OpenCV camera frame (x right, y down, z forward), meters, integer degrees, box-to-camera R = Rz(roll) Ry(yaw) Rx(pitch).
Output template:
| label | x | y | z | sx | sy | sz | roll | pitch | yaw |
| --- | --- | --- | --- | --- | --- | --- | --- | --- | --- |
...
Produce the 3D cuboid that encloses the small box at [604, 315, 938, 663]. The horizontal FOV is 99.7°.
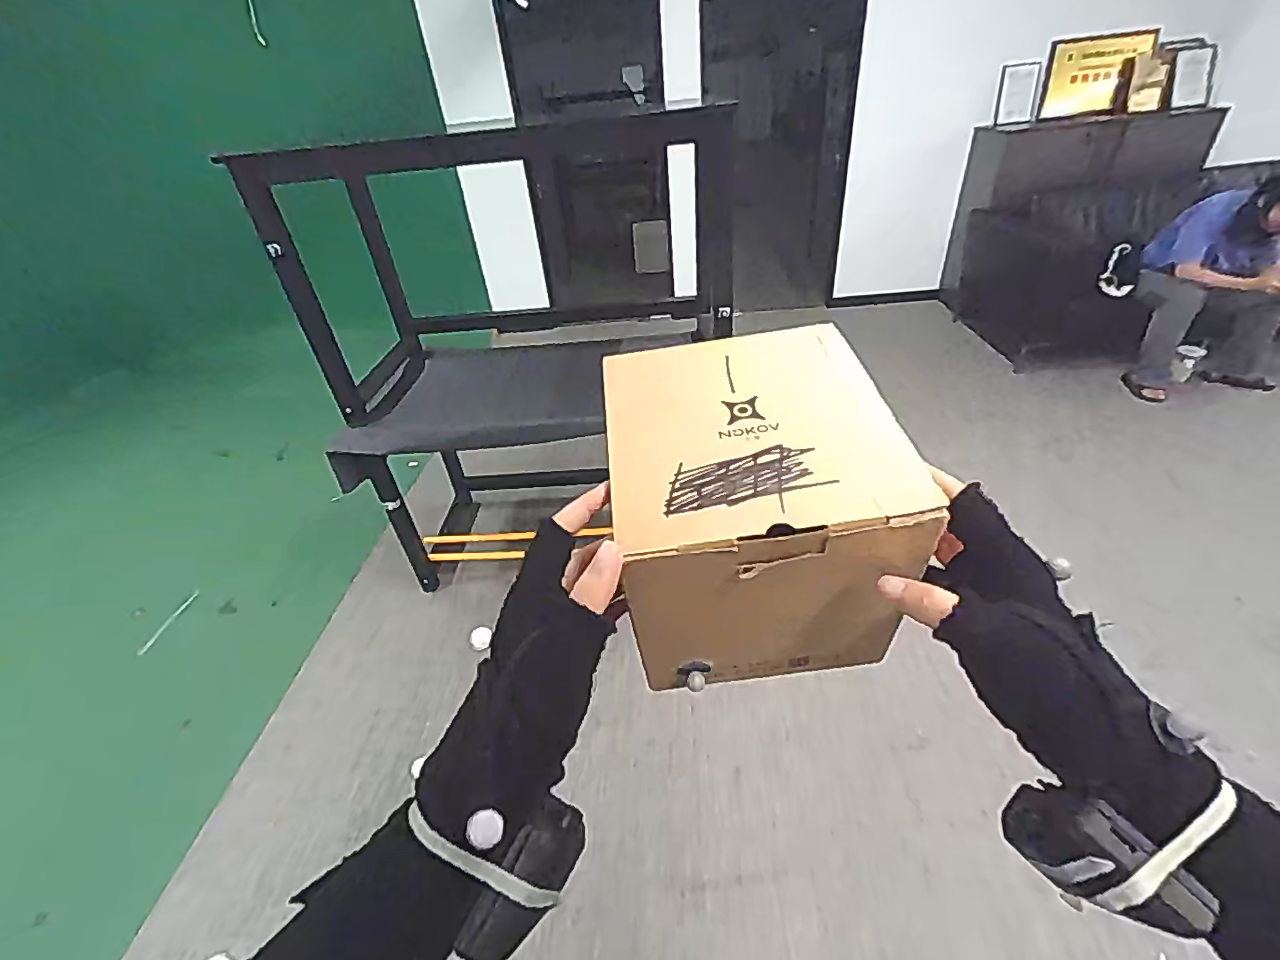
| label | x | y | z | sx | sy | sz | roll | pitch | yaw |
| --- | --- | --- | --- | --- | --- | --- | --- | --- | --- |
| small box | 0.071 | 0.013 | 0.380 | 0.168 | 0.176 | 0.179 | -8 | 45 | 1 |
